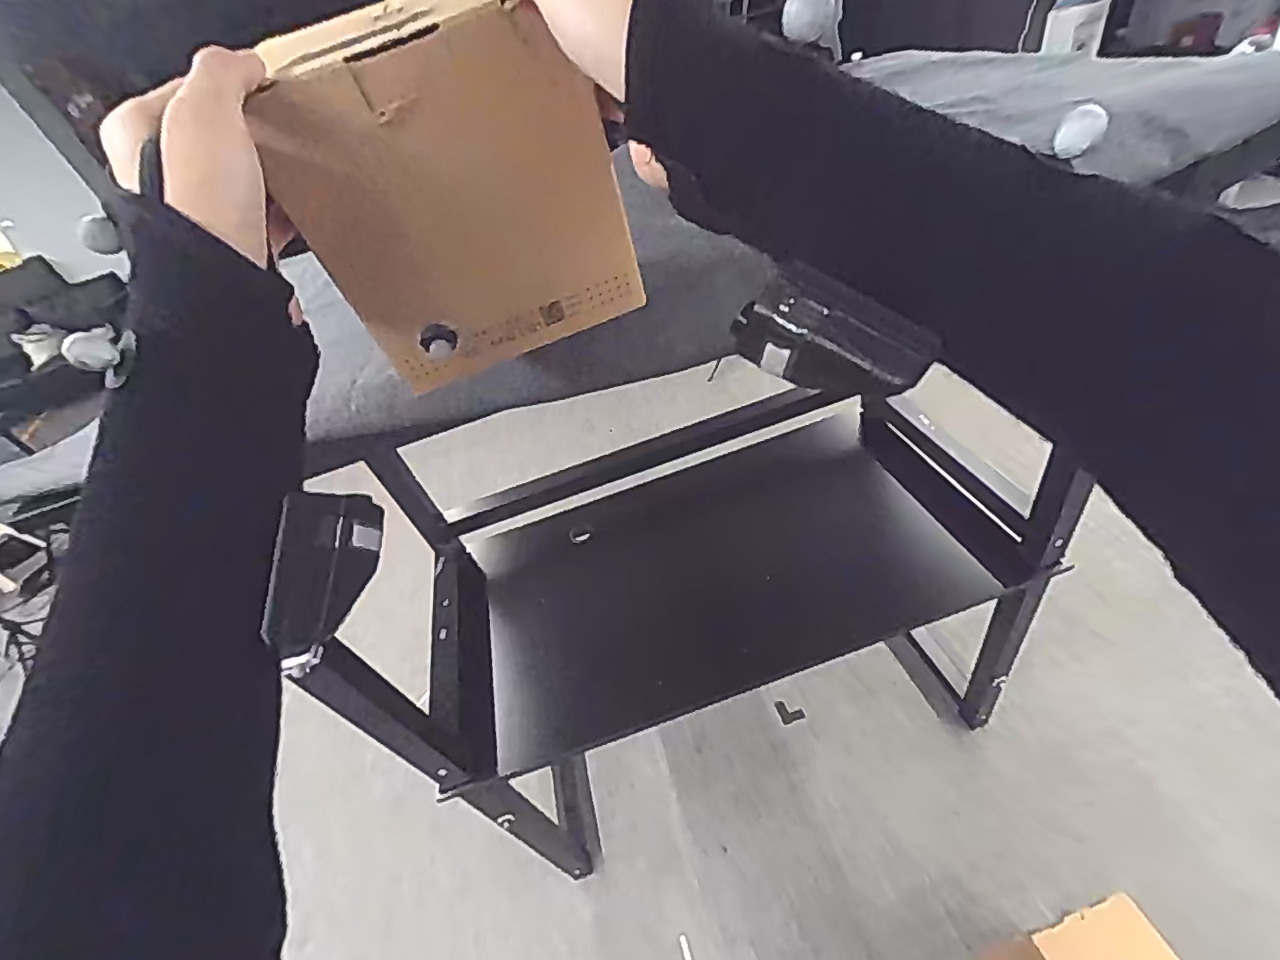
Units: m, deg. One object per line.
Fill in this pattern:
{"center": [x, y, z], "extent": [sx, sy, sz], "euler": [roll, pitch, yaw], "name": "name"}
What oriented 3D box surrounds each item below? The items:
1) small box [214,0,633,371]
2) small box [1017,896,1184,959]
{"center": [-0.117, -0.193, 0.351], "extent": [0.168, 0.176, 0.179], "euler": [-23, 48, -3], "name": "small box"}
{"center": [0.714, 0.767, 0.805], "extent": [0.168, 0.176, 0.179], "euler": [-23, 41, -4], "name": "small box"}
